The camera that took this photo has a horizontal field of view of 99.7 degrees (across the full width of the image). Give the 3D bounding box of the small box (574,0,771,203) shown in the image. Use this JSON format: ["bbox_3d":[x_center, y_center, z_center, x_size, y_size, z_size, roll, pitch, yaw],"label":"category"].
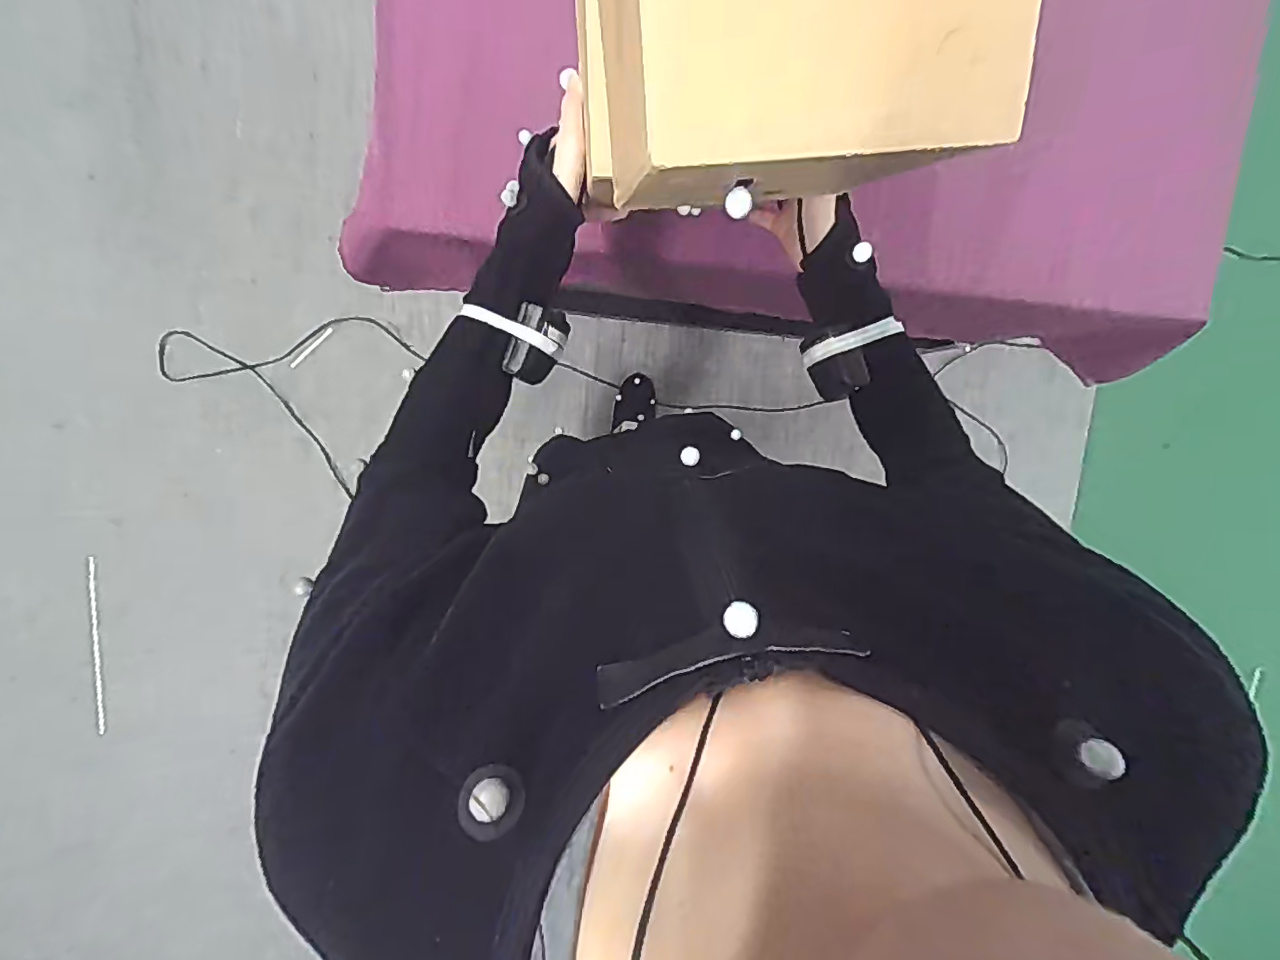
[{"bbox_3d":[0.040,-0.319,0.420,0.179,0.176,0.168,-3,110,-5],"label":"small box"}]

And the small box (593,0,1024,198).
[{"bbox_3d":[0.062,-0.251,0.273,0.168,0.176,0.179,-7,110,-4],"label":"small box"}]
